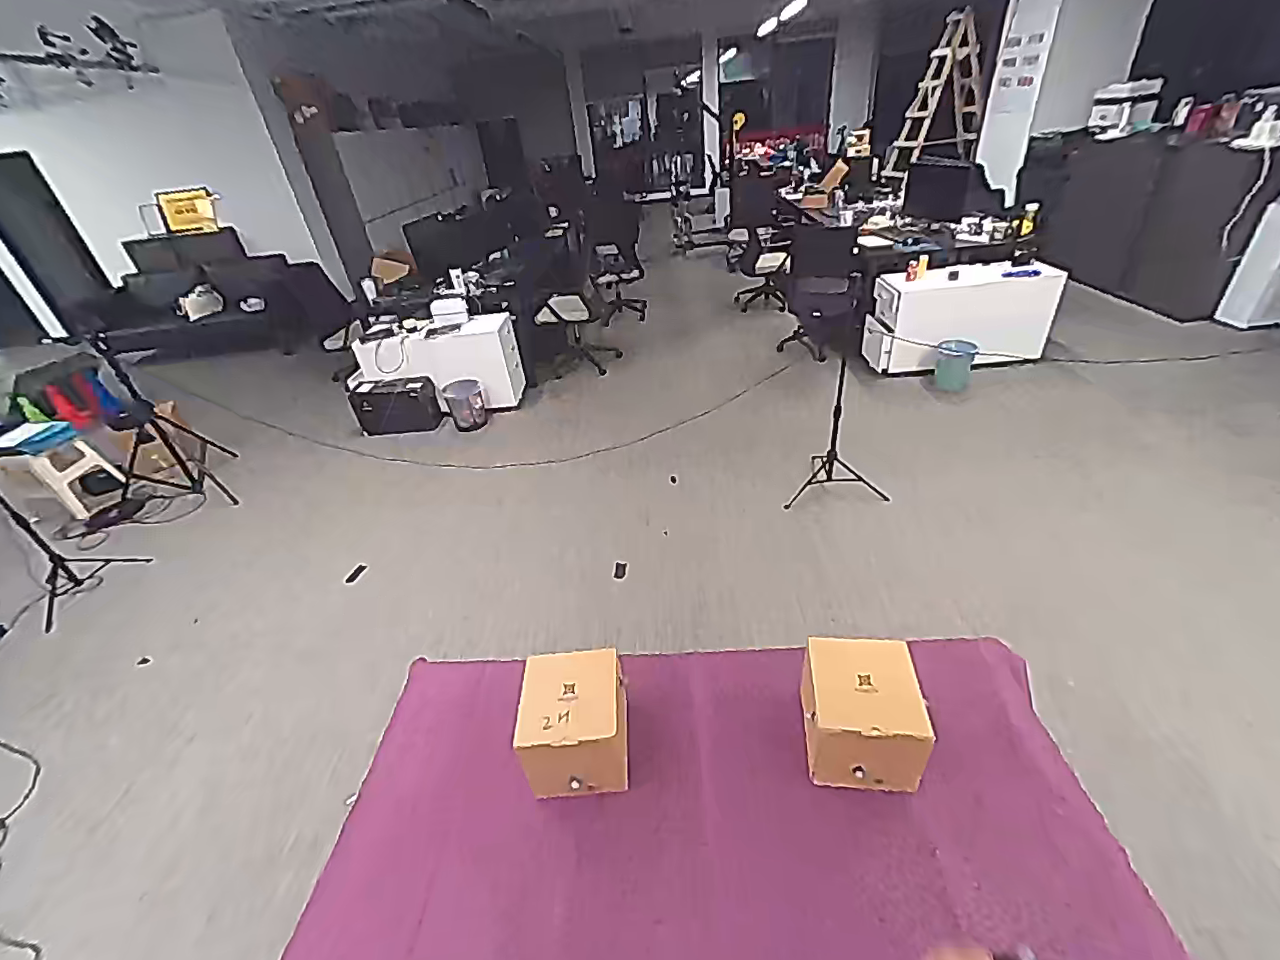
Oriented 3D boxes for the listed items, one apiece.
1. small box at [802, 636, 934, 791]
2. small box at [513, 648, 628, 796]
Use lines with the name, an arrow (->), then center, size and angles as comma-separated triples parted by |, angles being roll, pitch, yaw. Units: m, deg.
small box -> 0.372, 0.392, 0.919 | 0.168, 0.176, 0.179 | -1, 36, 10
small box -> -0.113, 0.426, 0.958 | 0.168, 0.176, 0.179 | -6, 34, 2
